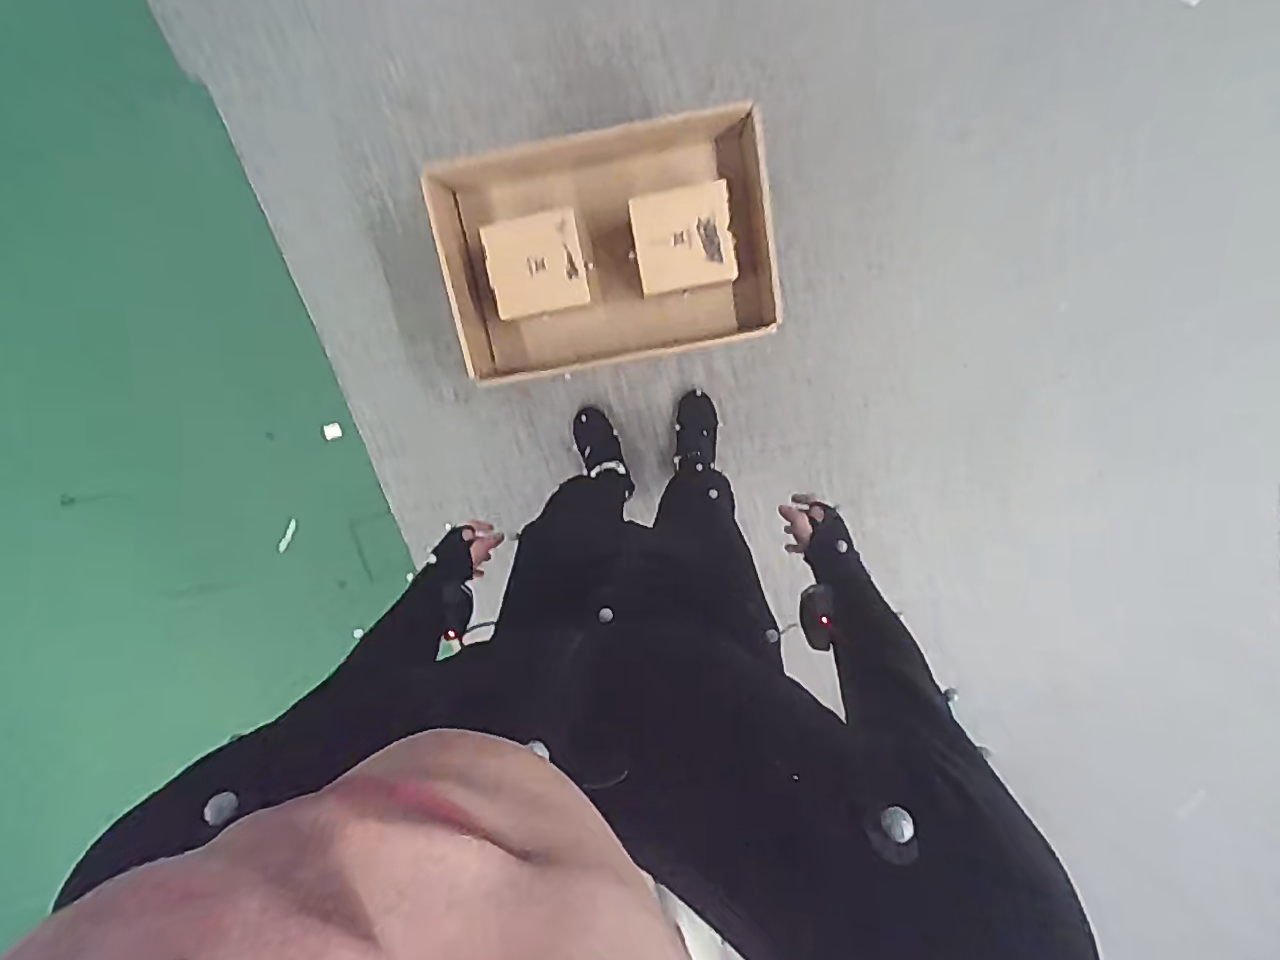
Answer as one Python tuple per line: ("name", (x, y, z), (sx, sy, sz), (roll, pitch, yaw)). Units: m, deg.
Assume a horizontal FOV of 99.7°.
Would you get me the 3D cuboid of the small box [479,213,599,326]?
("small box", (-0.189, -0.402, 1.061), (0.179, 0.176, 0.168), (-9, 103, 5))
